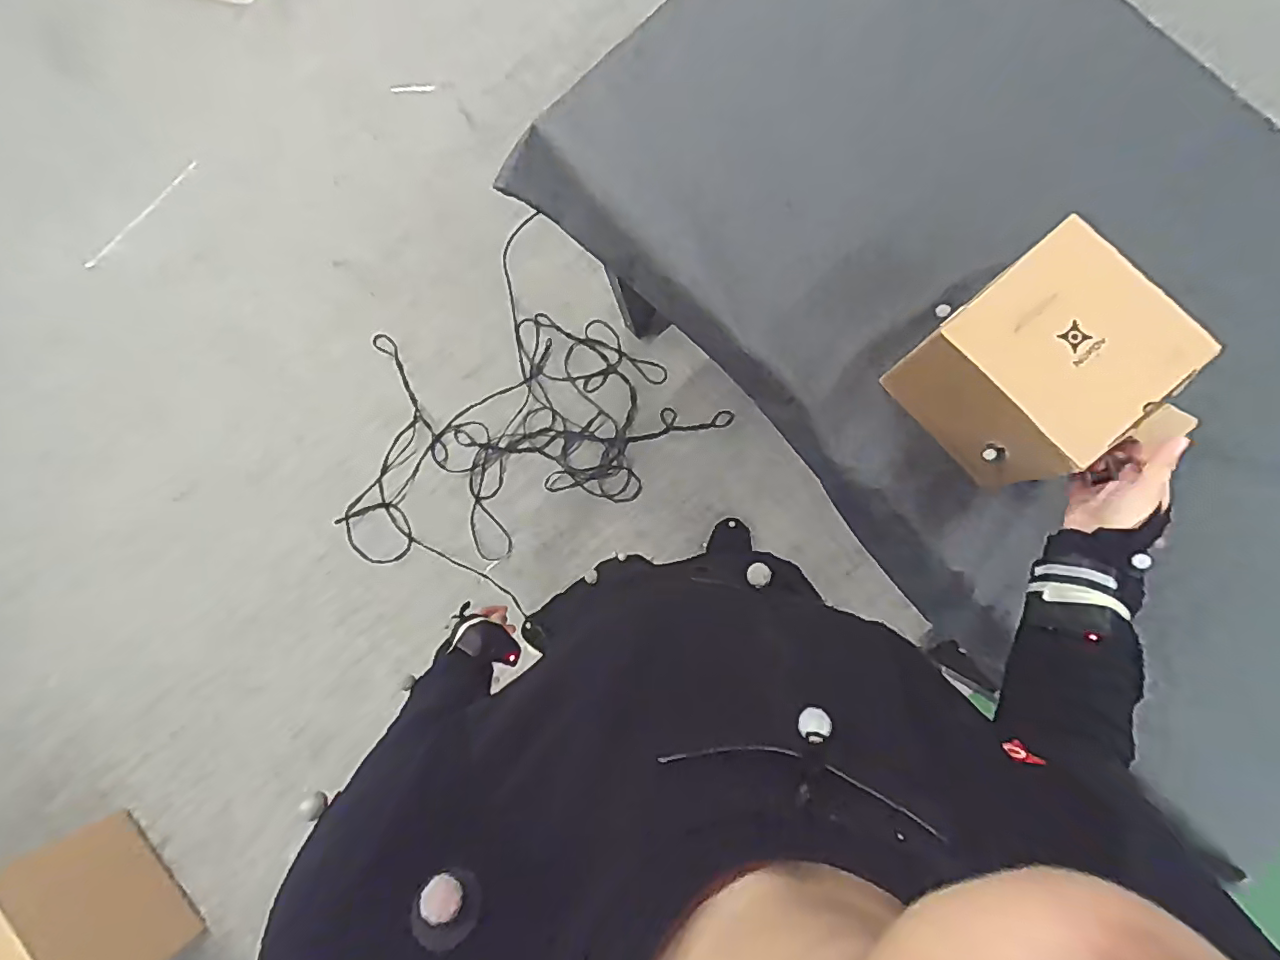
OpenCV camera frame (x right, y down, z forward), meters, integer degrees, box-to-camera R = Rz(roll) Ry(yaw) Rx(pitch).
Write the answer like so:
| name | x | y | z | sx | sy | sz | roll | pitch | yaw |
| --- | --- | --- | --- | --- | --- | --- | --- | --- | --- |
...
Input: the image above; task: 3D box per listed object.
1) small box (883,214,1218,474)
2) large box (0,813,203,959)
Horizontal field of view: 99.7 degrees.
| name | x | y | z | sx | sy | sz | roll | pitch | yaw |
| --- | --- | --- | --- | --- | --- | --- | --- | --- | --- |
| small box | 0.395 | -0.120 | 0.560 | 0.168 | 0.176 | 0.179 | -42 | 81 | 0 |
| large box | -1.407 | 1.139 | 1.314 | 0.320 | 0.320 | 0.408 | -44 | 81 | 0 |
